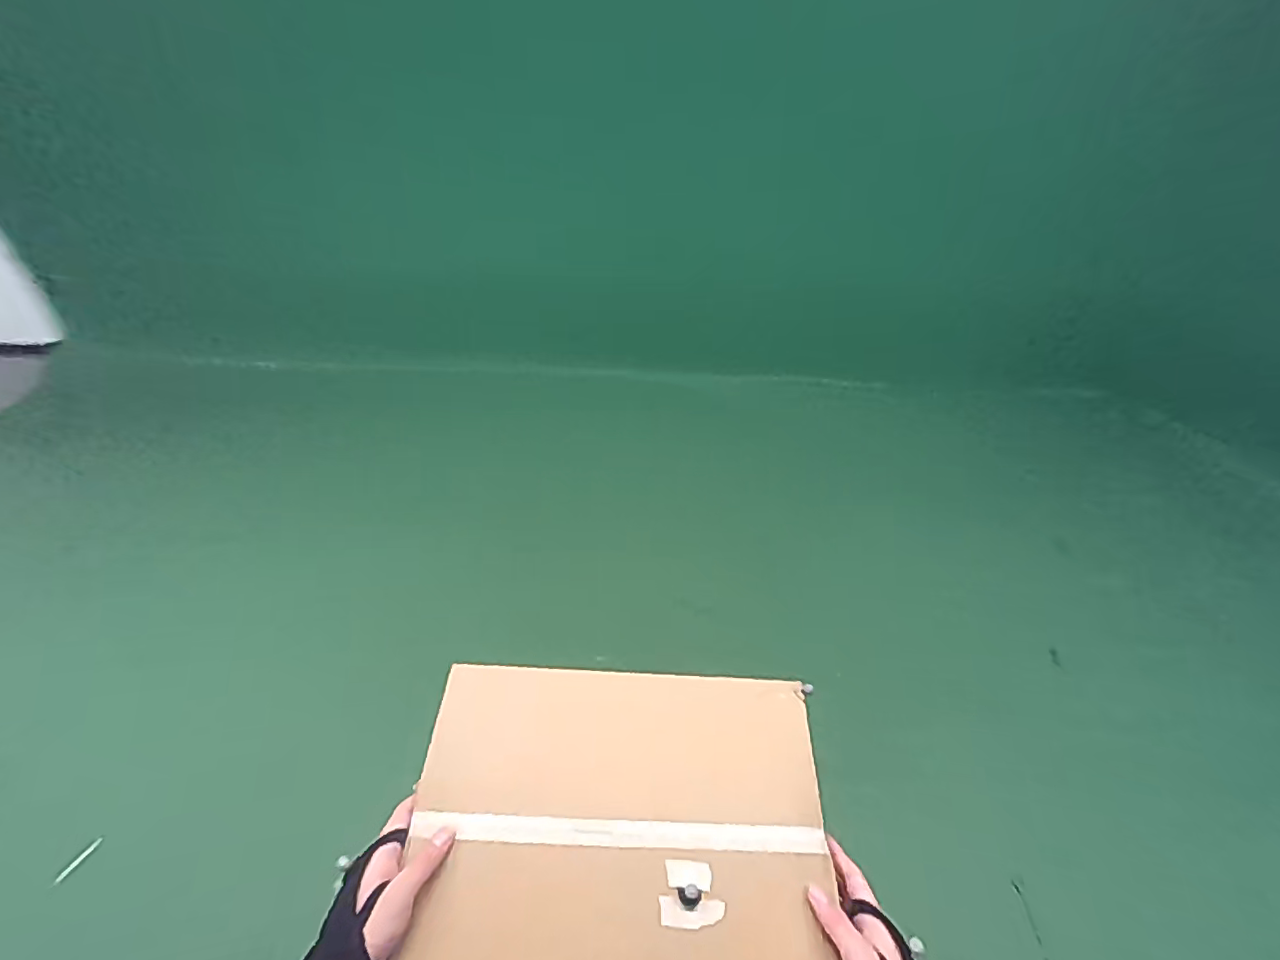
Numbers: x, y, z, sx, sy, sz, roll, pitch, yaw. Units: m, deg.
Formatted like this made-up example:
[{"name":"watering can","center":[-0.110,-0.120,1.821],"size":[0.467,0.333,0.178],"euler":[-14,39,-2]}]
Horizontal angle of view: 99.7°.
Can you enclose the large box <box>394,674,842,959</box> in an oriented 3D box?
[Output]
[{"name":"large box","center":[-0.022,0.449,0.649],"size":[0.408,0.320,0.320],"euler":[3,50,-1]}]
